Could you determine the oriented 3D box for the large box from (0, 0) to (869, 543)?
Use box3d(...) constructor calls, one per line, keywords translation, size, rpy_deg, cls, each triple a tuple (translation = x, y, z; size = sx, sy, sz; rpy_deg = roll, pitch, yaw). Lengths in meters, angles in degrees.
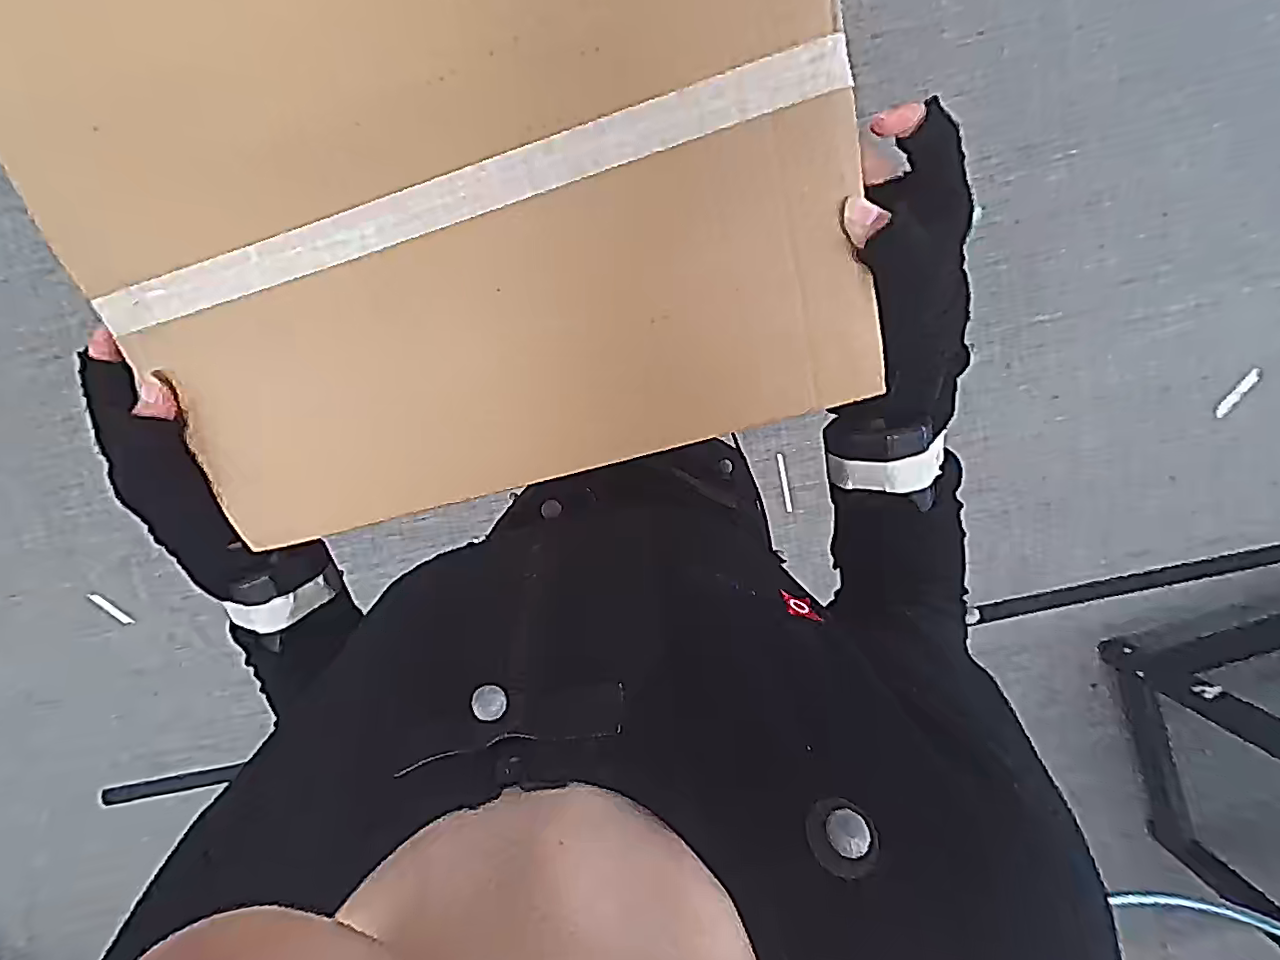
box3d(translation=(-0.090, -0.197, 0.421), size=(0.408, 0.320, 0.320), rpy_deg=(-13, 111, 8), cls="large box")
